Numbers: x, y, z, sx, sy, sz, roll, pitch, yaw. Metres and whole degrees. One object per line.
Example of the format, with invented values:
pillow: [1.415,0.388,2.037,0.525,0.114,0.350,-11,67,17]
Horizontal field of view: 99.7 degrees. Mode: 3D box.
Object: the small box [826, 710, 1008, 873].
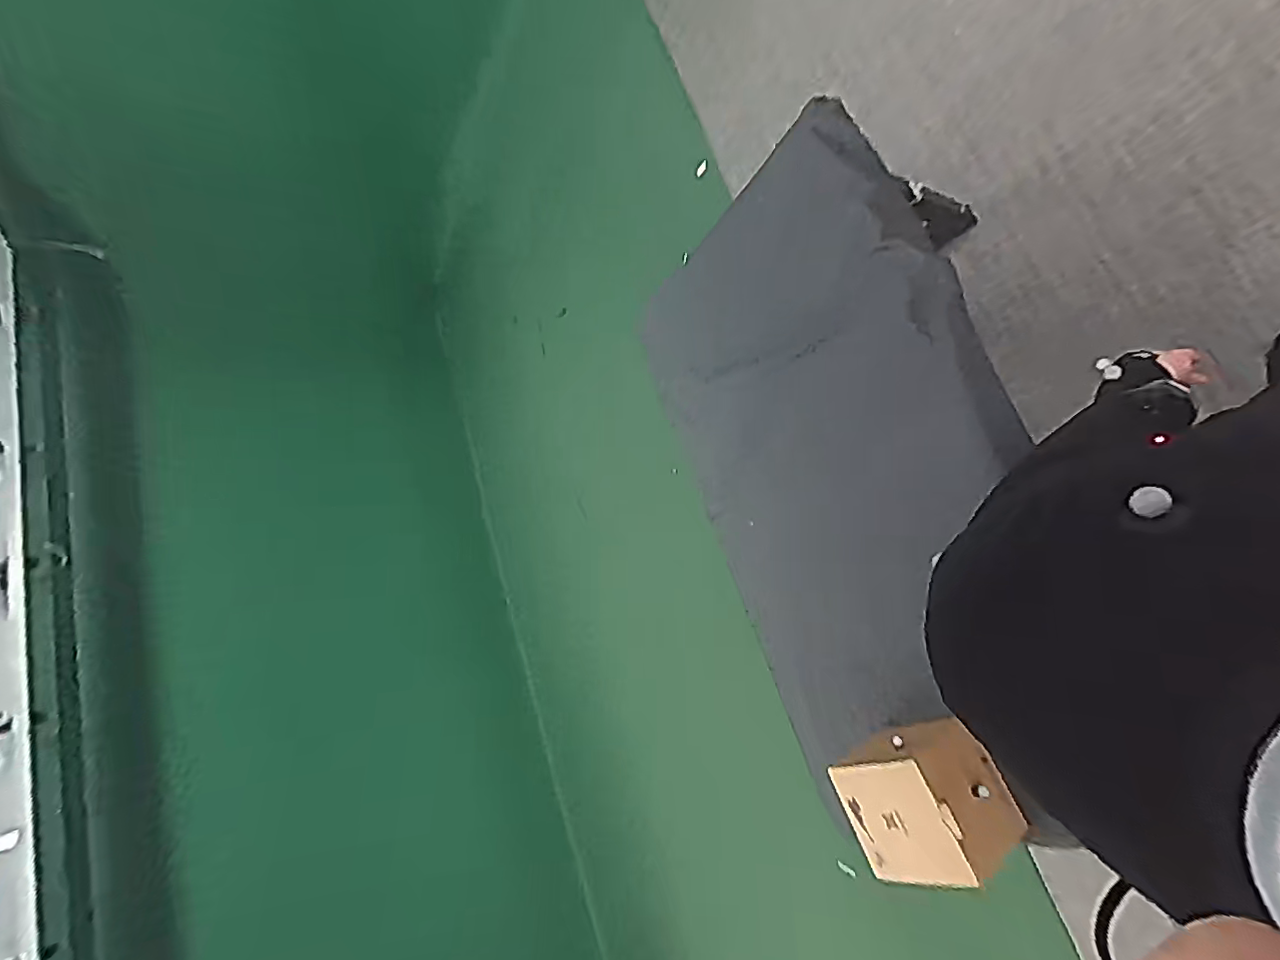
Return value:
small box: [0.441,0.482,0.854,0.179,0.176,0.168,-44,62,47]
